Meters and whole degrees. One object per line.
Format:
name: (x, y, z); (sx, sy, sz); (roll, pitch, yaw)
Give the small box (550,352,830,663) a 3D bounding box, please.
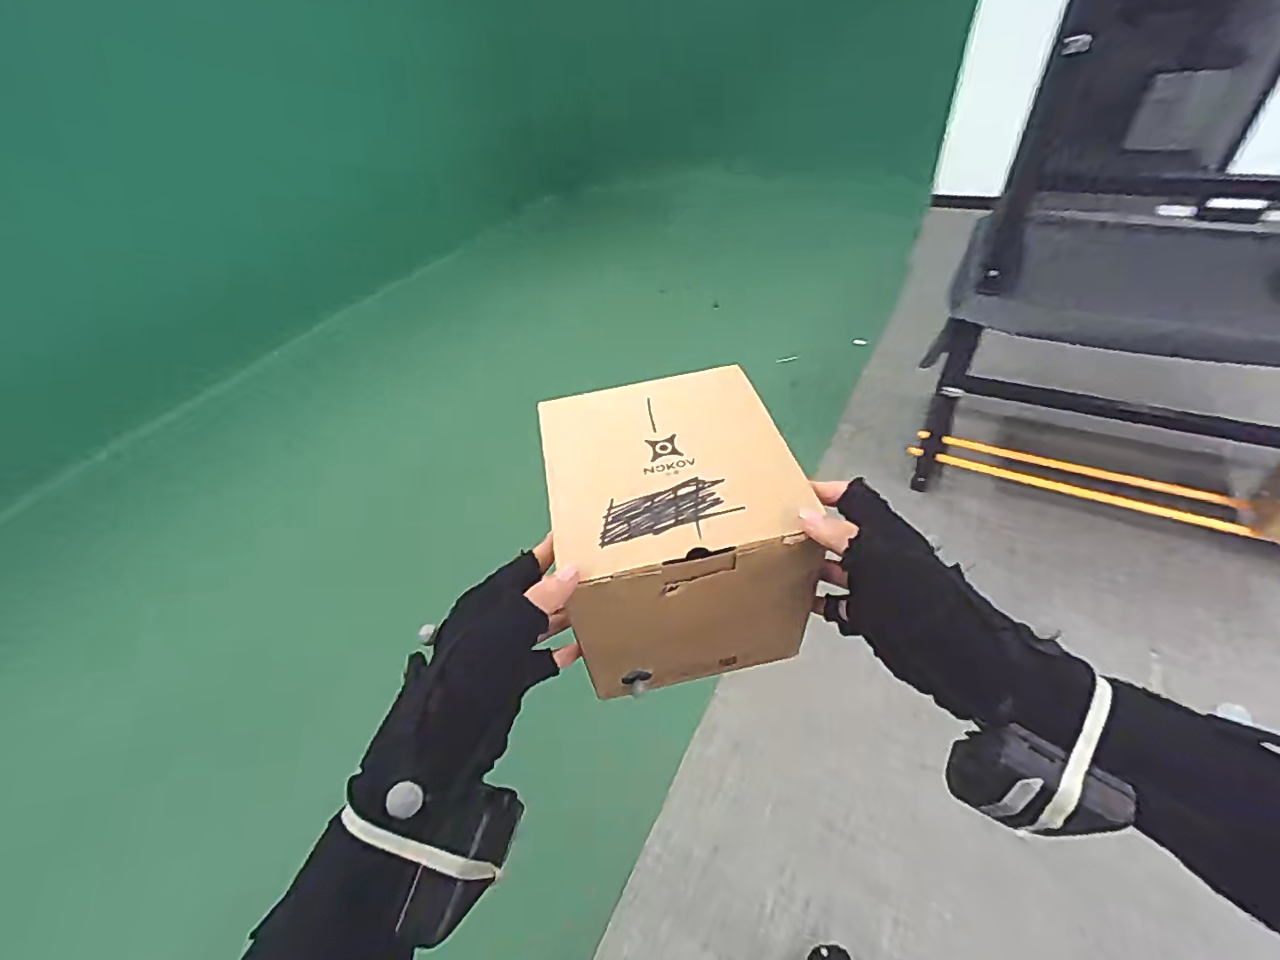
small box: (0.029, 0.027, 0.431); (0.168, 0.176, 0.179); (-11, 46, -4)
